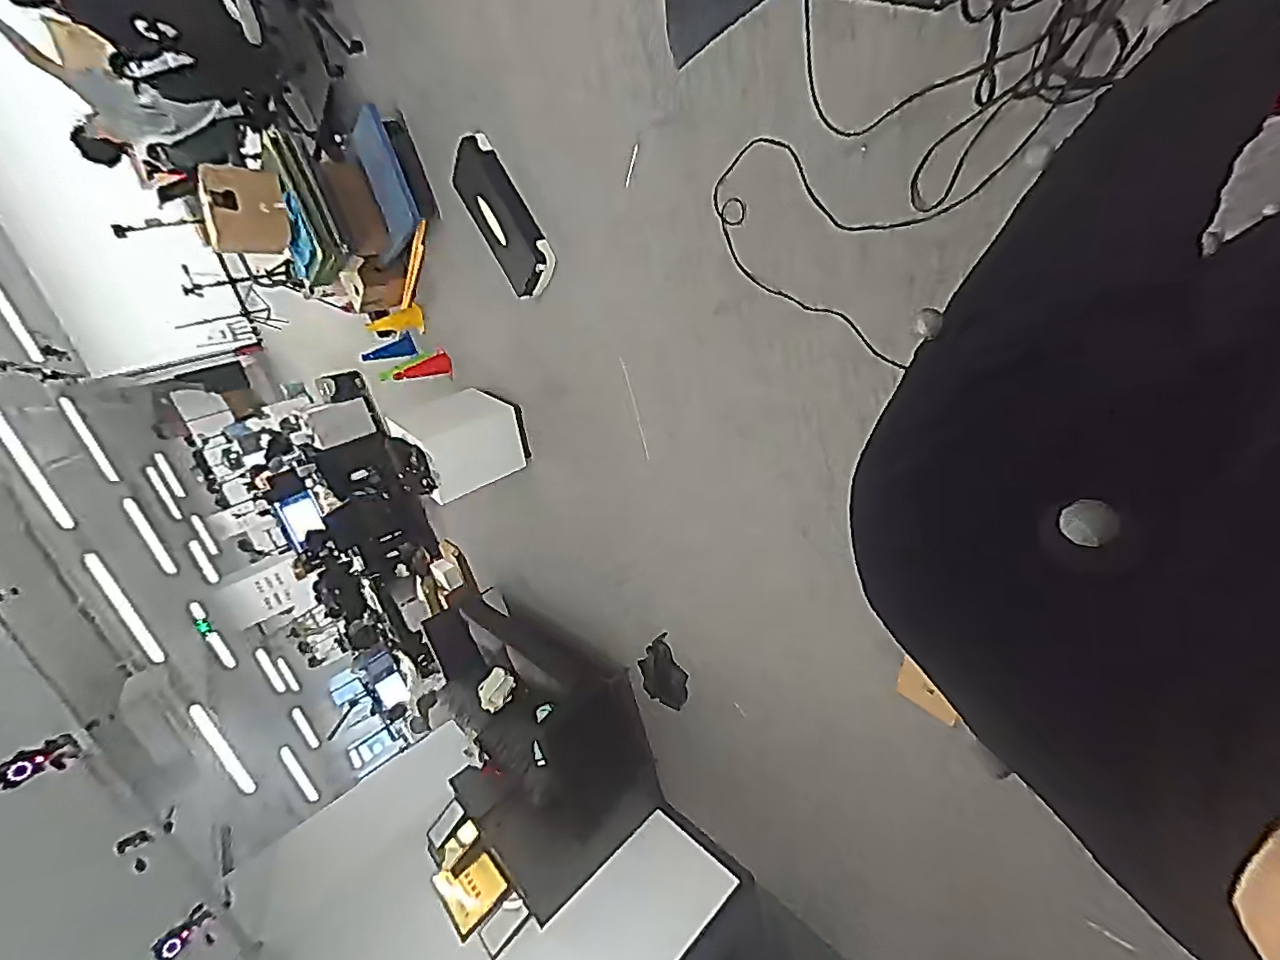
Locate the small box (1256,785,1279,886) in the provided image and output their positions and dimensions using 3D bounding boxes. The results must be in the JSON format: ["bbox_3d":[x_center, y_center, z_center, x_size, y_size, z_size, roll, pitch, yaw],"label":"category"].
[{"bbox_3d":[1.357,0.715,1.053,0.168,0.176,0.179,17,126,48],"label":"small box"}]

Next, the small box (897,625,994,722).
[{"bbox_3d":[0.888,0.553,1.576,0.179,0.176,0.168,29,136,39],"label":"small box"}]
